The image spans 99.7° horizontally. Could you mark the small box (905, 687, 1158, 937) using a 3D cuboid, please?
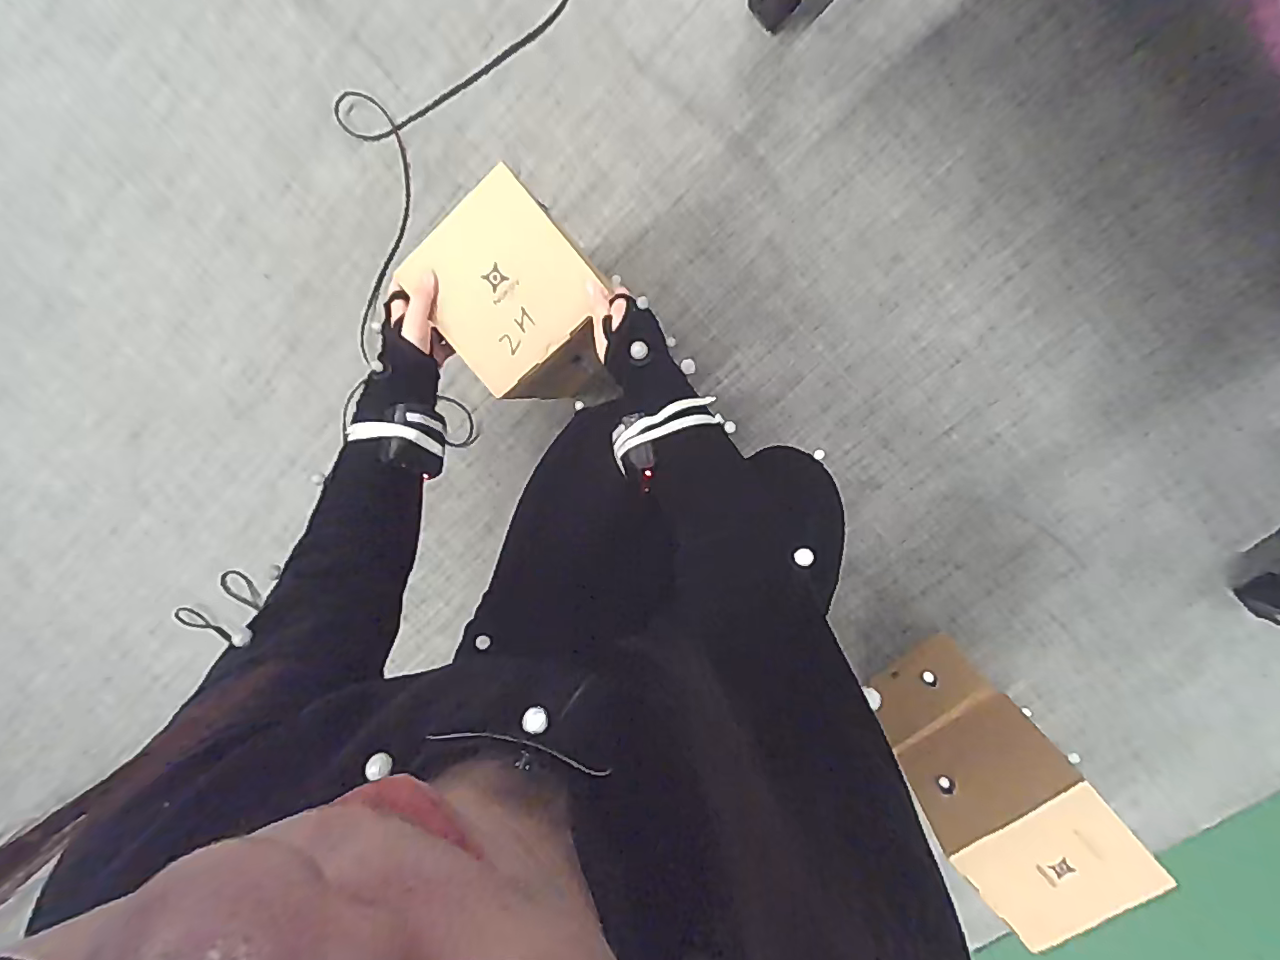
[{"bbox_3d":[0.470,0.408,0.689,0.179,0.176,0.168,-40,95,12],"label":"small box"}]

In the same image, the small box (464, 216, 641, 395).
[{"bbox_3d":[-0.116,-0.242,0.801,0.179,0.176,0.168,-40,94,11],"label":"small box"}]

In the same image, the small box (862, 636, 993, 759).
[{"bbox_3d":[0.483,0.371,0.849,0.168,0.176,0.179,-43,93,13],"label":"small box"}]
